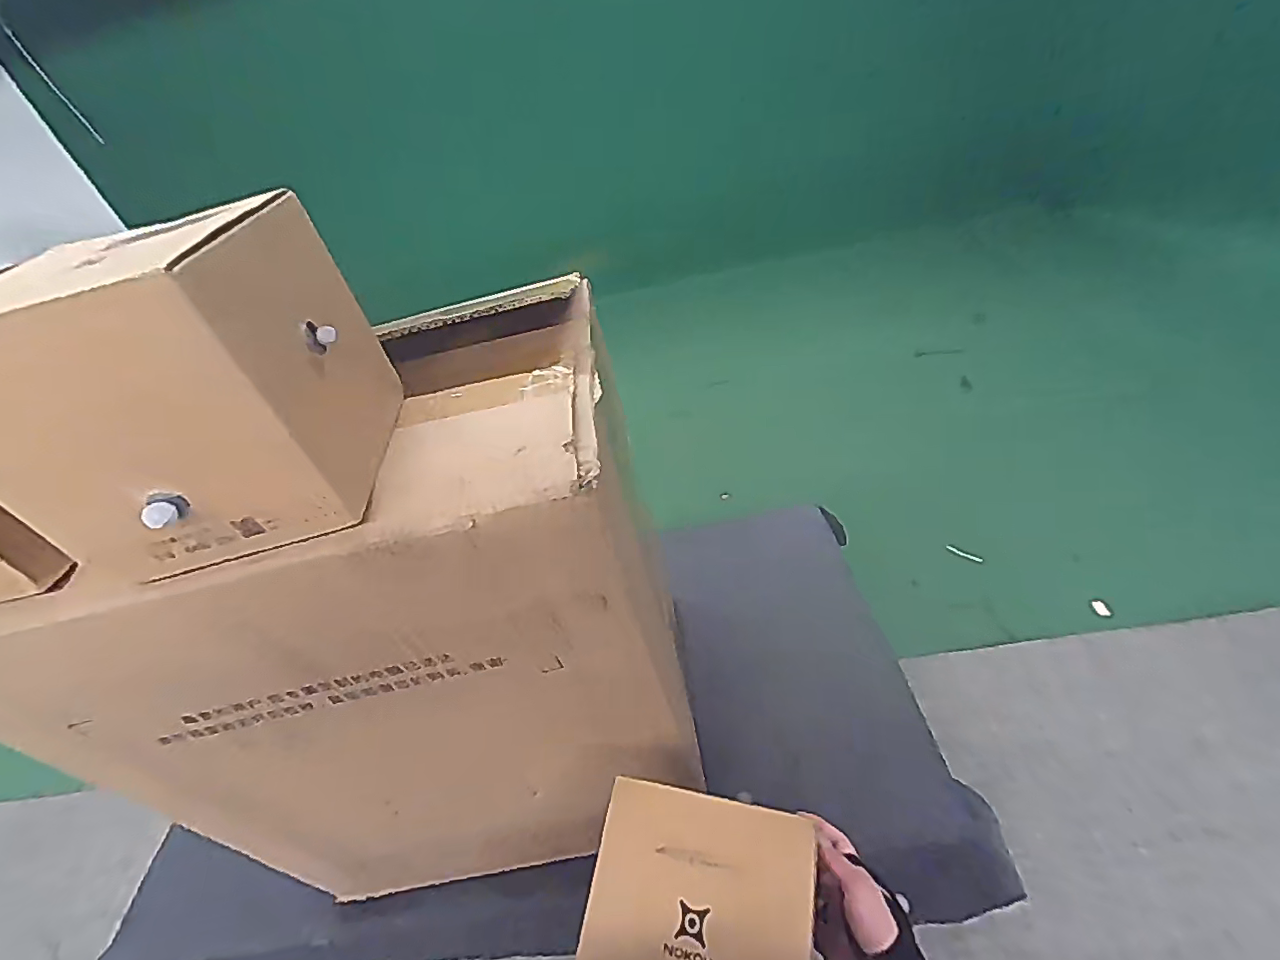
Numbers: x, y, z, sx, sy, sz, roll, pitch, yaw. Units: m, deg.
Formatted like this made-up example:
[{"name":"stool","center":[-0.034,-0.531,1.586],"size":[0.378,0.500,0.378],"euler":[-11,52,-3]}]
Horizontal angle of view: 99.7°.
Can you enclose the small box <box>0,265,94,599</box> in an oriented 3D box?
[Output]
[{"name":"small box","center":[-0.492,-0.021,0.381],"size":[0.168,0.176,0.179],"euler":[-13,40,5]}]

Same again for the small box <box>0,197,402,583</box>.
[{"name":"small box","center":[-0.282,-0.062,0.359],"size":[0.168,0.176,0.179],"euler":[-15,41,0]}]
